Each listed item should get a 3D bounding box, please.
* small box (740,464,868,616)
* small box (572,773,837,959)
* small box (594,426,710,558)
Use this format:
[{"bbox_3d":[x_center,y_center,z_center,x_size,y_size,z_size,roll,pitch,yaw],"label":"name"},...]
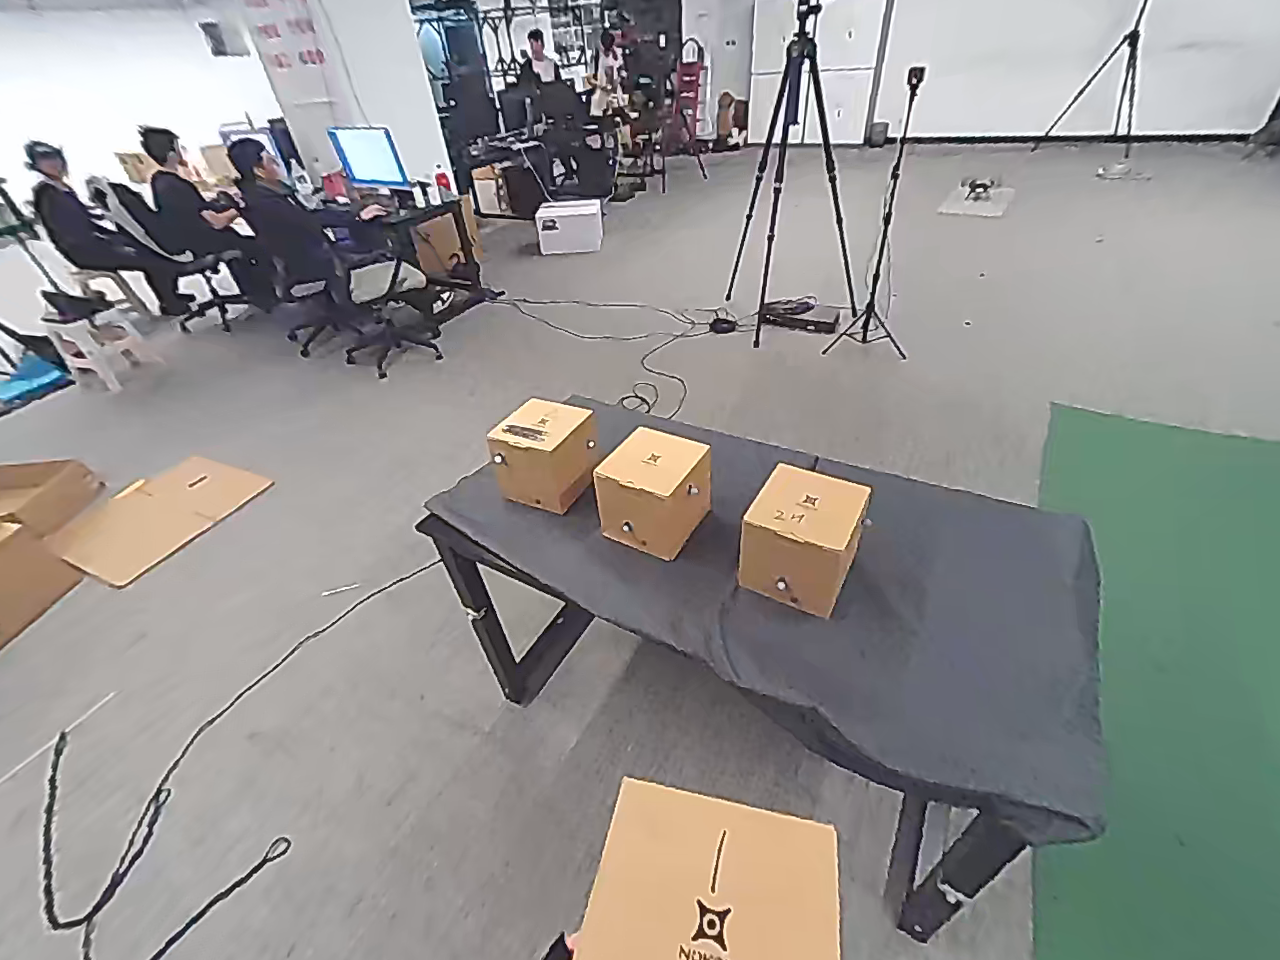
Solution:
[{"bbox_3d":[0.285,0.104,0.959,0.168,0.176,0.179,19,45,26],"label":"small box"},{"bbox_3d":[0.049,0.360,0.401,0.168,0.176,0.179,6,38,14],"label":"small box"},{"bbox_3d":[0.028,0.021,1.087,0.168,0.176,0.179,19,45,25],"label":"small box"}]
